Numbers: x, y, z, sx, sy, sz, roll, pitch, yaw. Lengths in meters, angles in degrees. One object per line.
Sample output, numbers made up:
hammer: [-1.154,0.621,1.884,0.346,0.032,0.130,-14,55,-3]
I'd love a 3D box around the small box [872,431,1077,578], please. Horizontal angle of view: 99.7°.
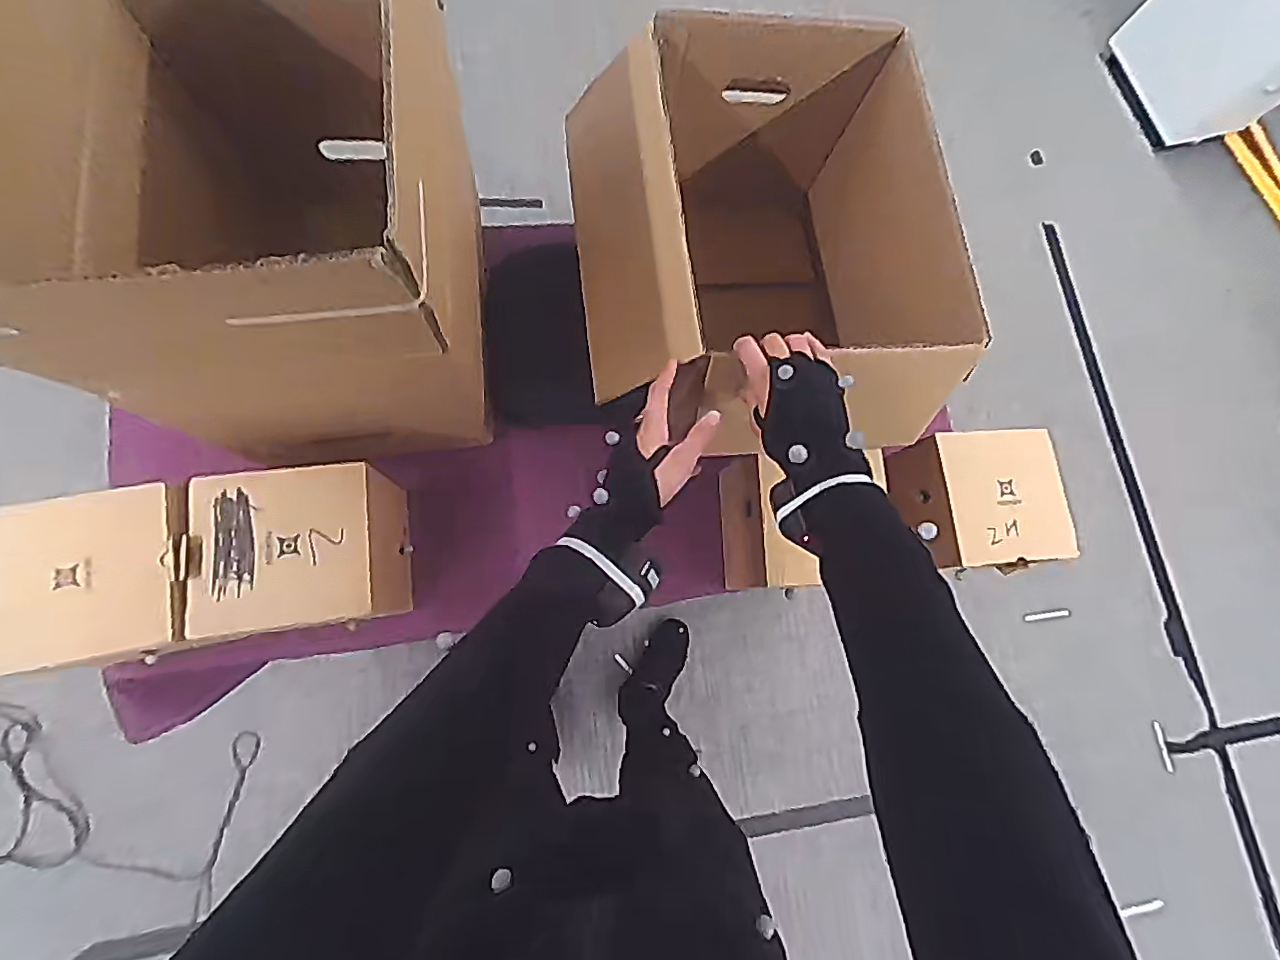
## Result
small box: [0.452,0.041,0.763,0.168,0.176,0.179,-3,77,-7]
